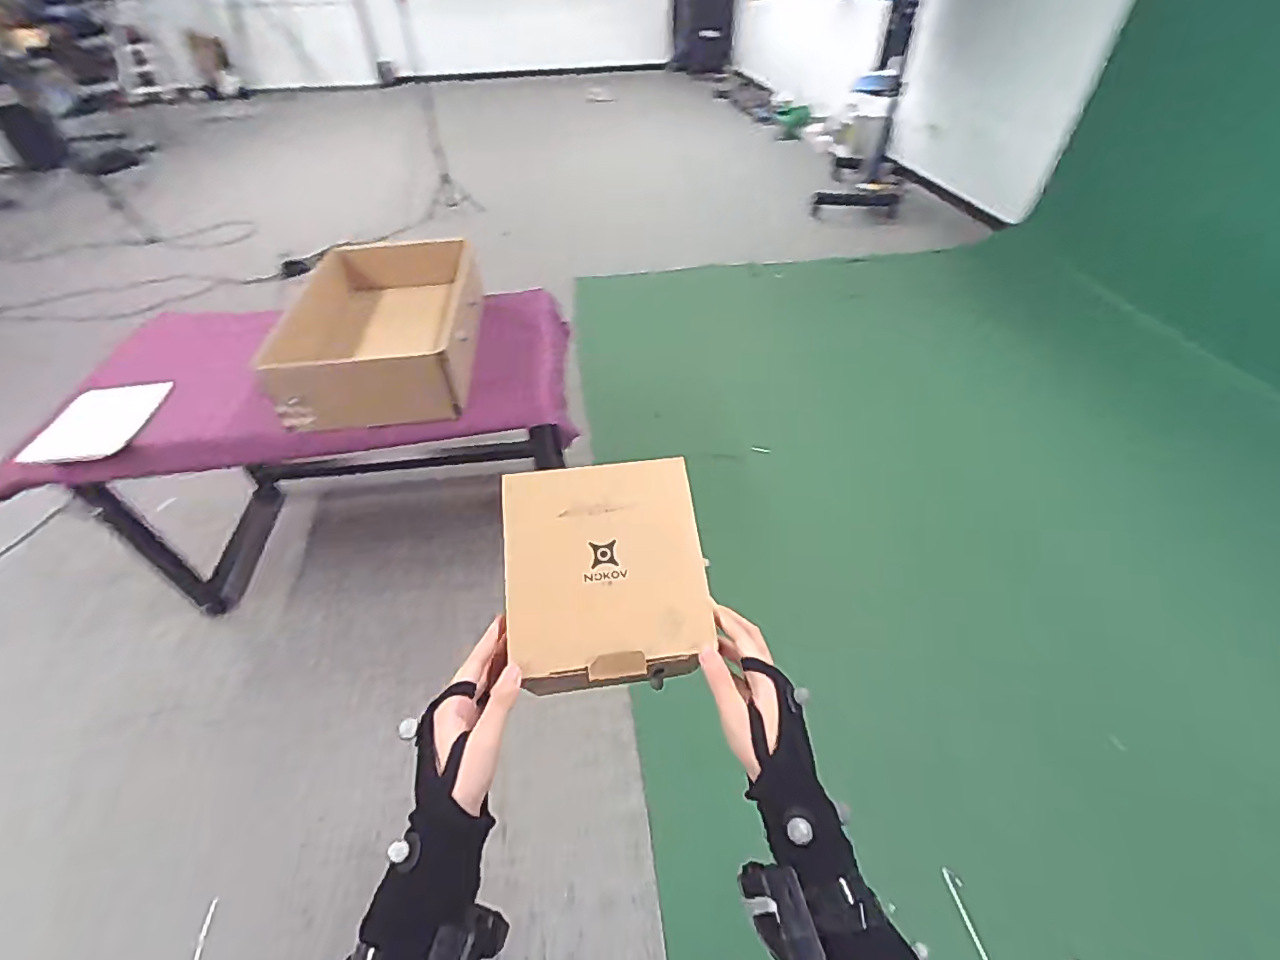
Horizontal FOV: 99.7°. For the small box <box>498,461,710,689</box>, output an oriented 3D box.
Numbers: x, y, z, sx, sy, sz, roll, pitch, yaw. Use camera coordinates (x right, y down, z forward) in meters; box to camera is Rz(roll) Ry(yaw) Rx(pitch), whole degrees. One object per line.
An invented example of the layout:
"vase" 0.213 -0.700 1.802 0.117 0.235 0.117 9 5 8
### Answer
"small box" -0.038 0.101 0.522 0.168 0.176 0.179 -6 65 -7
